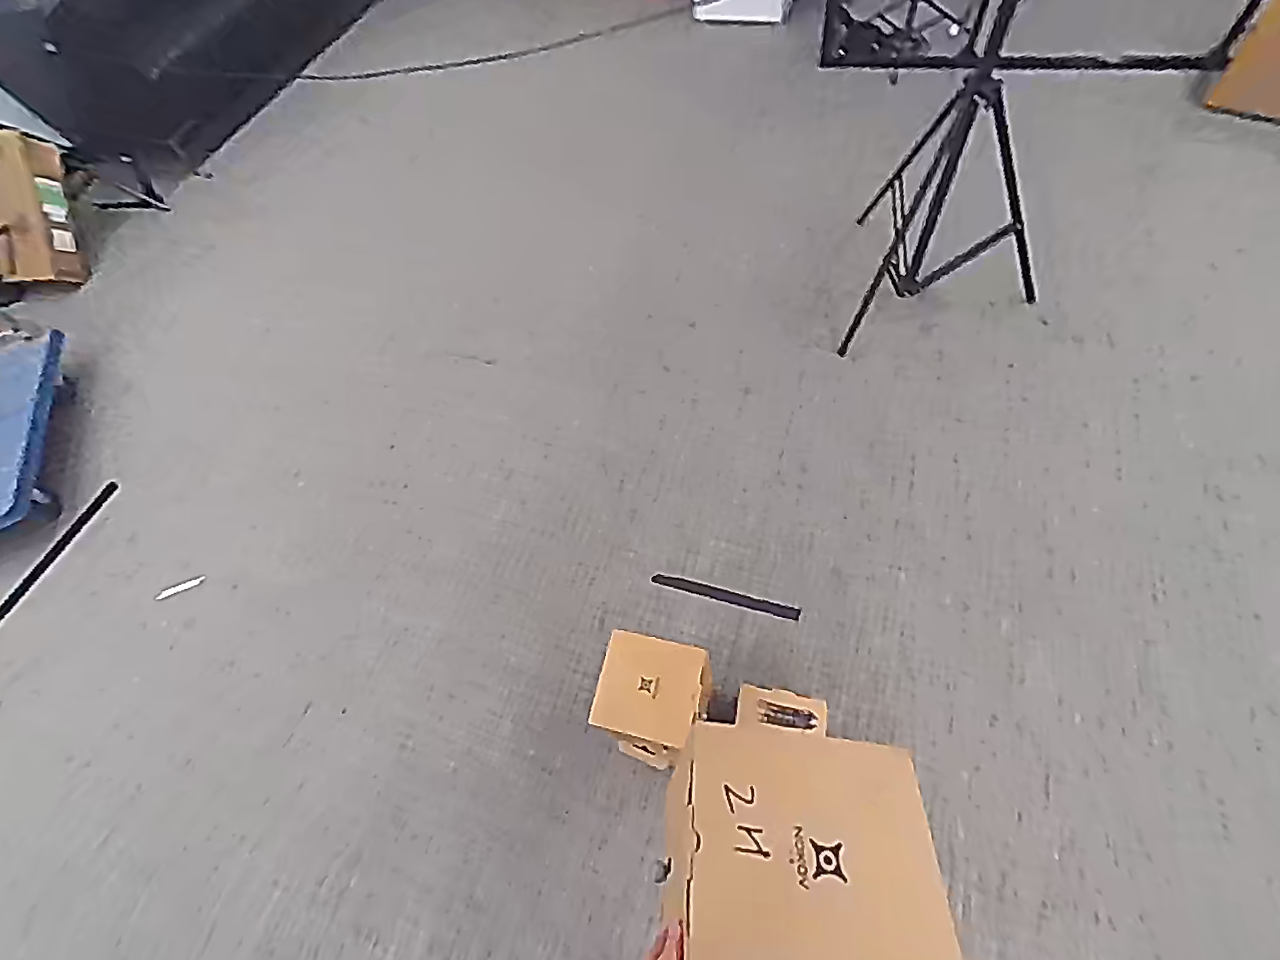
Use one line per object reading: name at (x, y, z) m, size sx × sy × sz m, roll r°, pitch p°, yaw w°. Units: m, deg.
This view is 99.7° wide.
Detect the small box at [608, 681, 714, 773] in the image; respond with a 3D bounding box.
small box at (0.054, 0.489, 1.126) m, size 0.168 × 0.176 × 0.179 m, roll 15°, pitch 63°, yaw 18°

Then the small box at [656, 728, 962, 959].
small box at (0.112, 0.318, 0.421) m, size 0.179 × 0.176 × 0.168 m, roll 7°, pitch 43°, yaw 1°

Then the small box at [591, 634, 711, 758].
small box at (0.030, 0.400, 0.991) m, size 0.179 × 0.176 × 0.168 m, roll 9°, pitch 62°, yaw 14°
